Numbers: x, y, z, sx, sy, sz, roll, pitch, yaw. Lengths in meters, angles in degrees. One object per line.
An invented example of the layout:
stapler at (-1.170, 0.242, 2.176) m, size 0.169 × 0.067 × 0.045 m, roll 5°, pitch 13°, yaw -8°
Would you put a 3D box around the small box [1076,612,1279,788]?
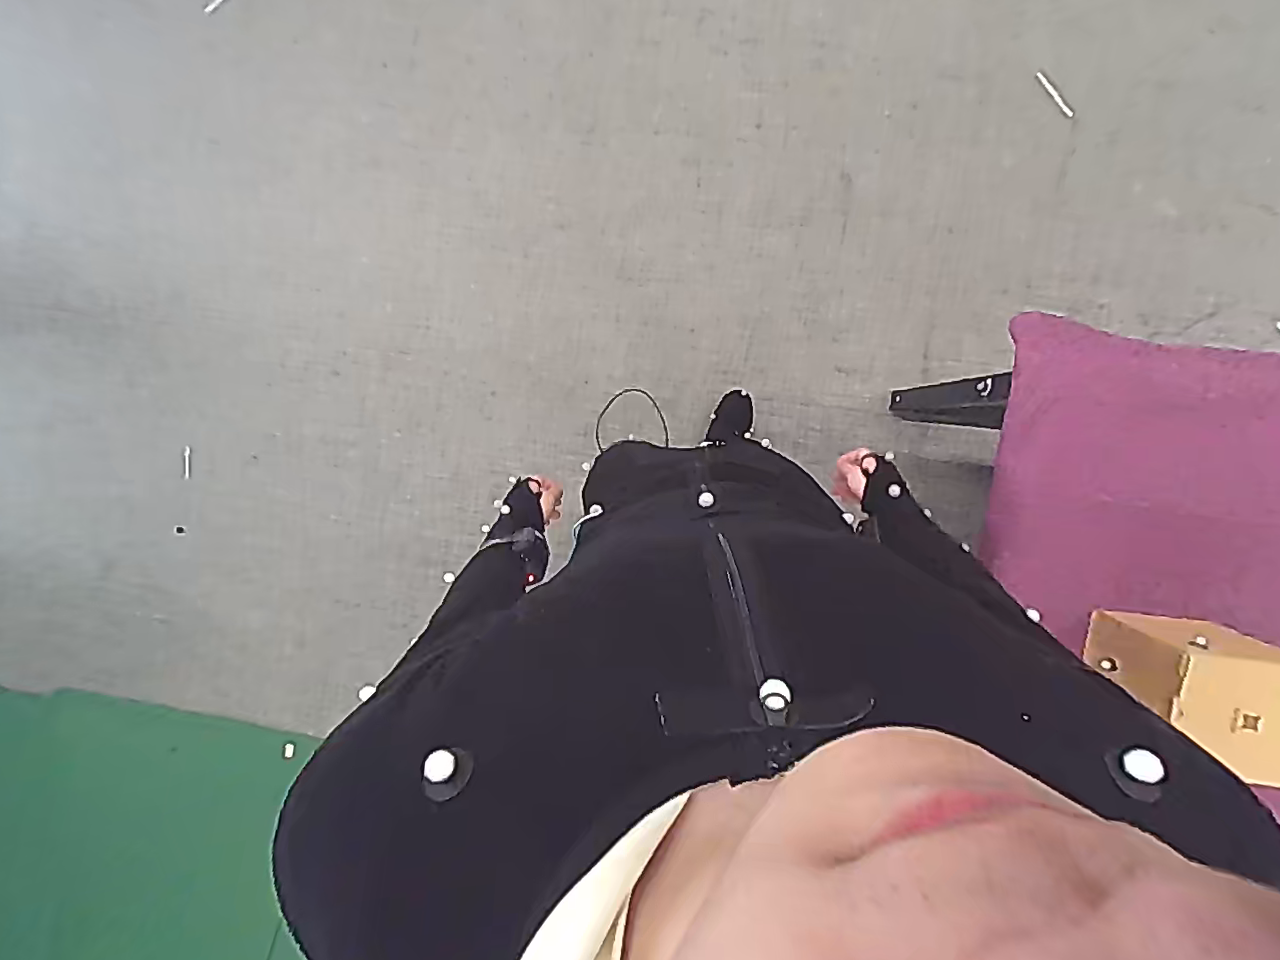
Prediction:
small box at (0.783, 0.301, 0.772) m, size 0.179 × 0.176 × 0.168 m, roll 6°, pitch 97°, yaw 6°
